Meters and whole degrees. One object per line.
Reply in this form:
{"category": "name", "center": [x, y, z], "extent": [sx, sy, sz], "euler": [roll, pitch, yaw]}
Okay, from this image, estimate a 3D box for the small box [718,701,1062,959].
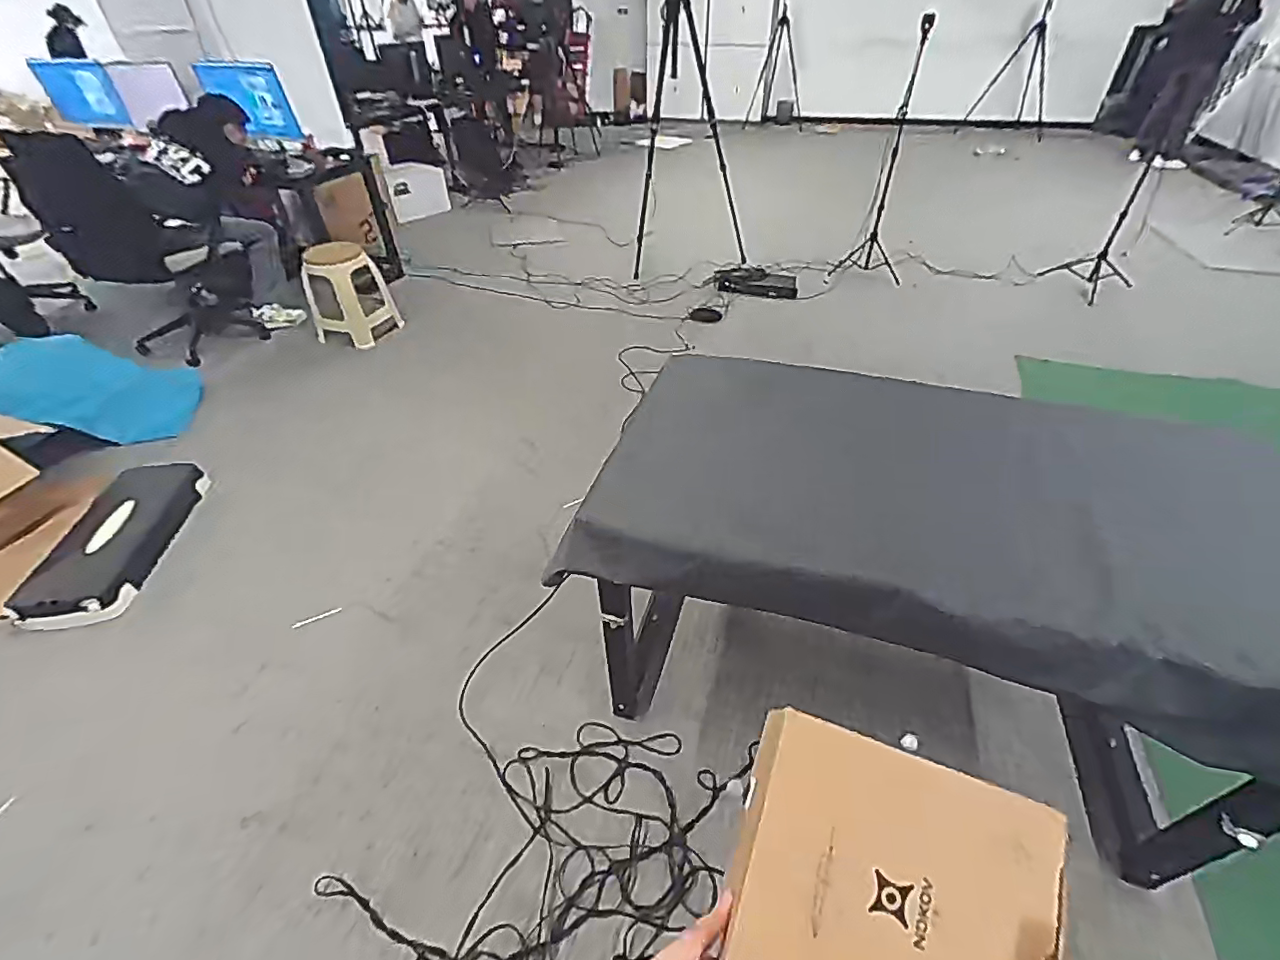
{"category": "small box", "center": [0.164, 0.278, 0.400], "extent": [0.179, 0.176, 0.168], "euler": [15, 68, 15]}
